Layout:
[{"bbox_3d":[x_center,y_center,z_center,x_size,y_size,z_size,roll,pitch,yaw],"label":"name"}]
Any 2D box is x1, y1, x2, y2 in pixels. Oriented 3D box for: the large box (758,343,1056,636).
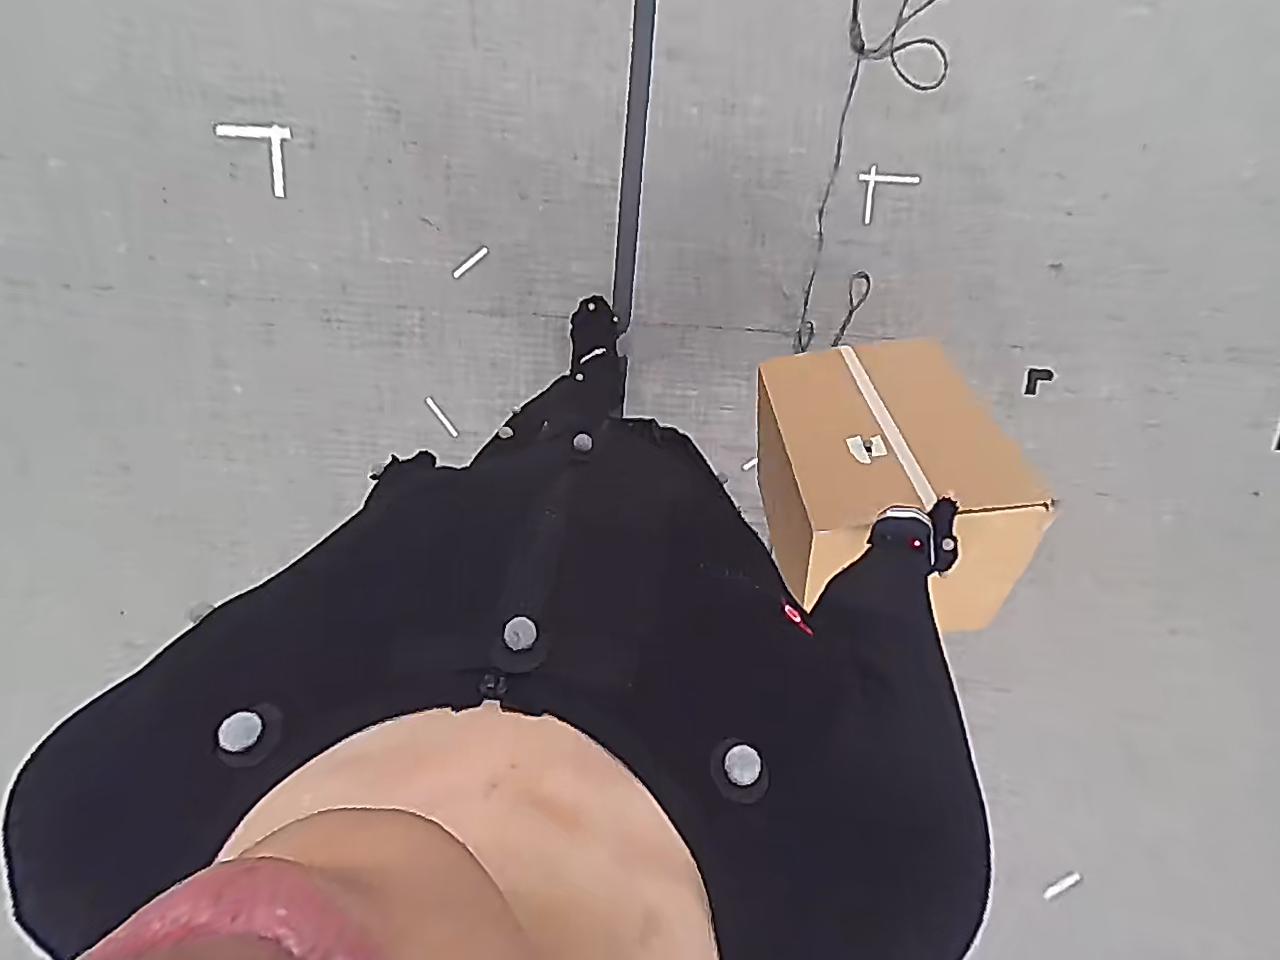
[{"bbox_3d":[0.402,0.012,0.955,0.320,0.408,0.320,-7,136,5],"label":"large box"}]
